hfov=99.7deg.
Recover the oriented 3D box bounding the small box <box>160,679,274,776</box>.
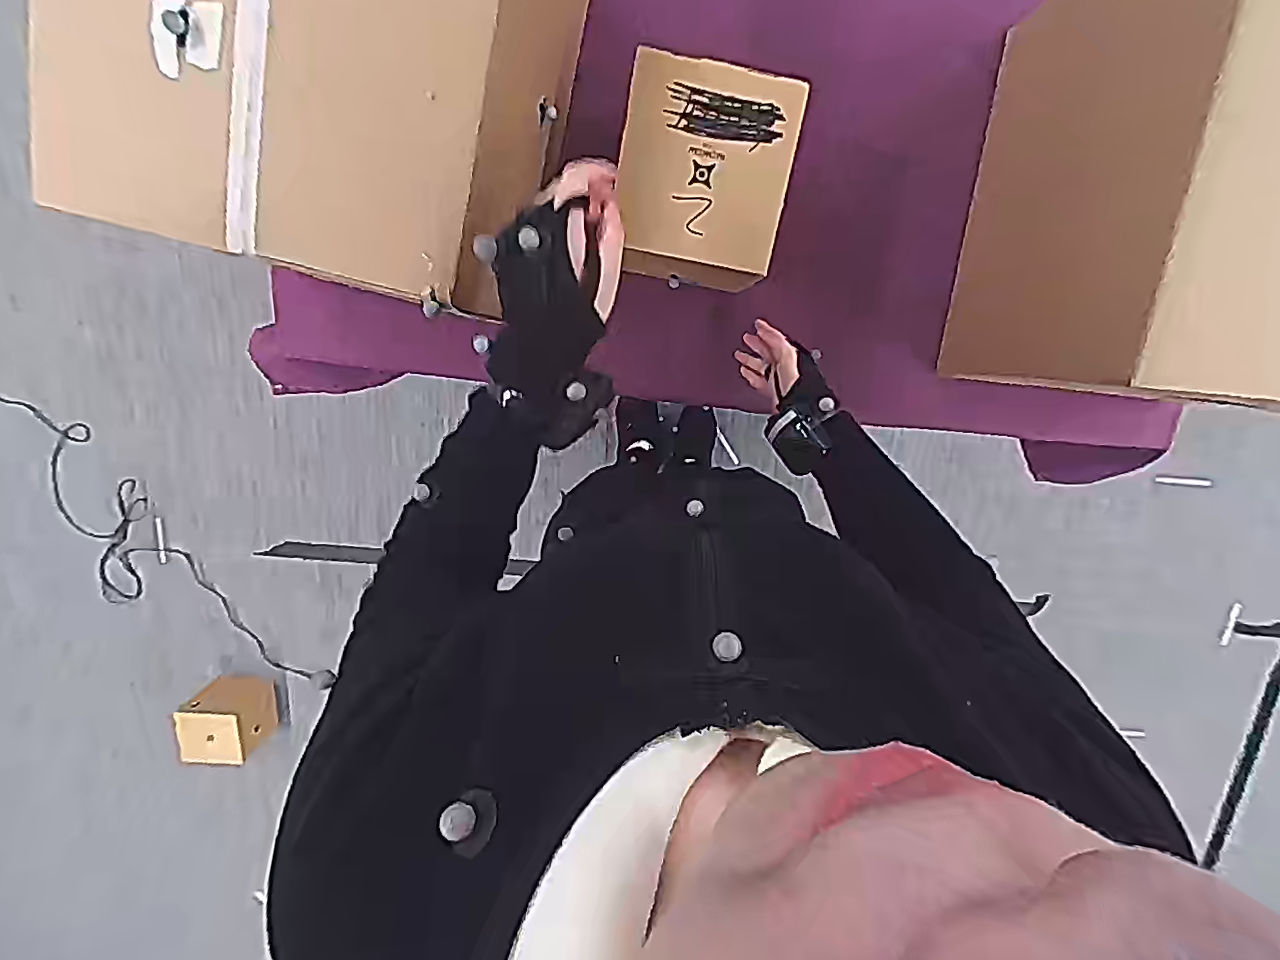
[{"bbox_3d":[-1.217,0.711,1.555,0.168,0.176,0.179,7,123,18],"label":"small box"}]
